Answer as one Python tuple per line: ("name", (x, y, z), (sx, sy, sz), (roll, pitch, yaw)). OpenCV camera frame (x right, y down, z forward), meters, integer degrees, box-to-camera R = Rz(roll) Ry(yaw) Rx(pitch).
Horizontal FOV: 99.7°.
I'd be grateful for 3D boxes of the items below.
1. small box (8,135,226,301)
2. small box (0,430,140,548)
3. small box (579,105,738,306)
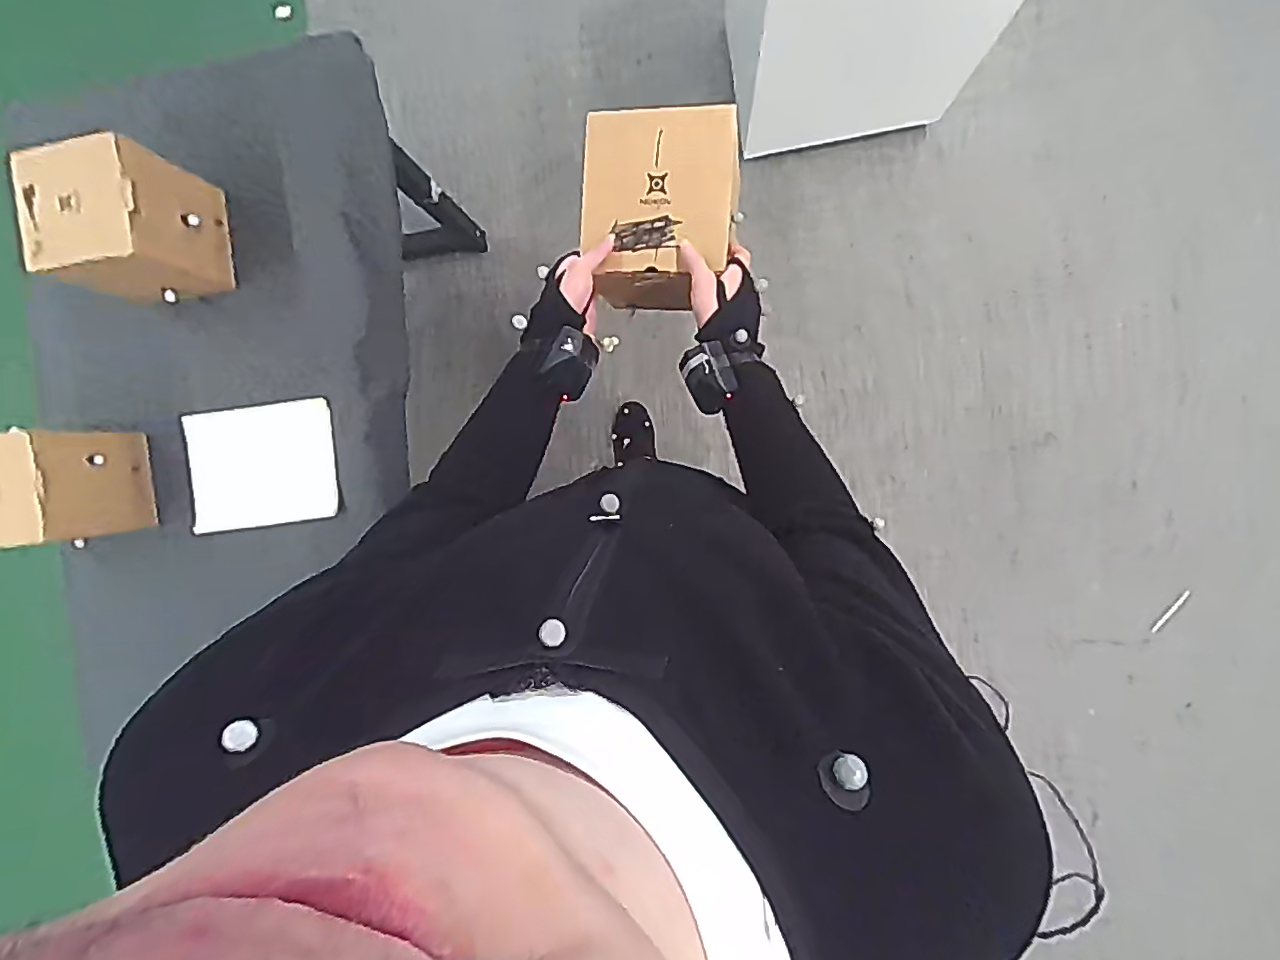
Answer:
("small box", (-0.777, -0.386, 0.826), (0.179, 0.176, 0.168), (-6, 92, 5))
("small box", (-0.939, 0.015, 0.850), (0.179, 0.176, 0.168), (-7, 91, 7))
("small box", (0.031, -0.321, 0.667), (0.168, 0.176, 0.179), (5, 94, 10))
